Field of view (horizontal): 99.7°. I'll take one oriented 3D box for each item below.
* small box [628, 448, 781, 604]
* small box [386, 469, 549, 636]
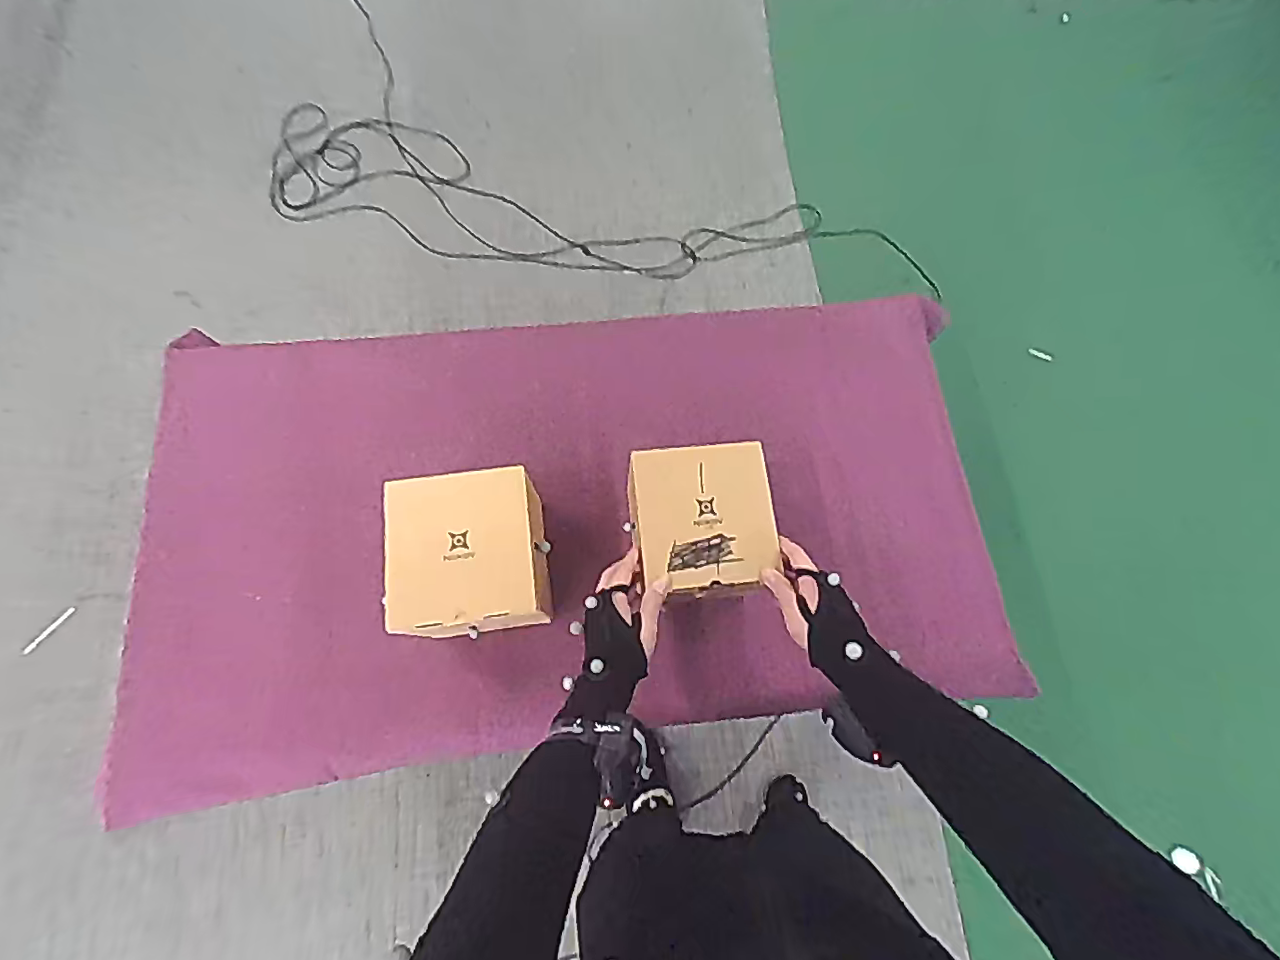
[{"bbox_3d":[0.073,0.070,0.720,0.168,0.176,0.179,-4,72,-5],"label":"small box"},{"bbox_3d":[-0.212,0.100,0.697,0.168,0.176,0.179,-6,74,-6],"label":"small box"}]
